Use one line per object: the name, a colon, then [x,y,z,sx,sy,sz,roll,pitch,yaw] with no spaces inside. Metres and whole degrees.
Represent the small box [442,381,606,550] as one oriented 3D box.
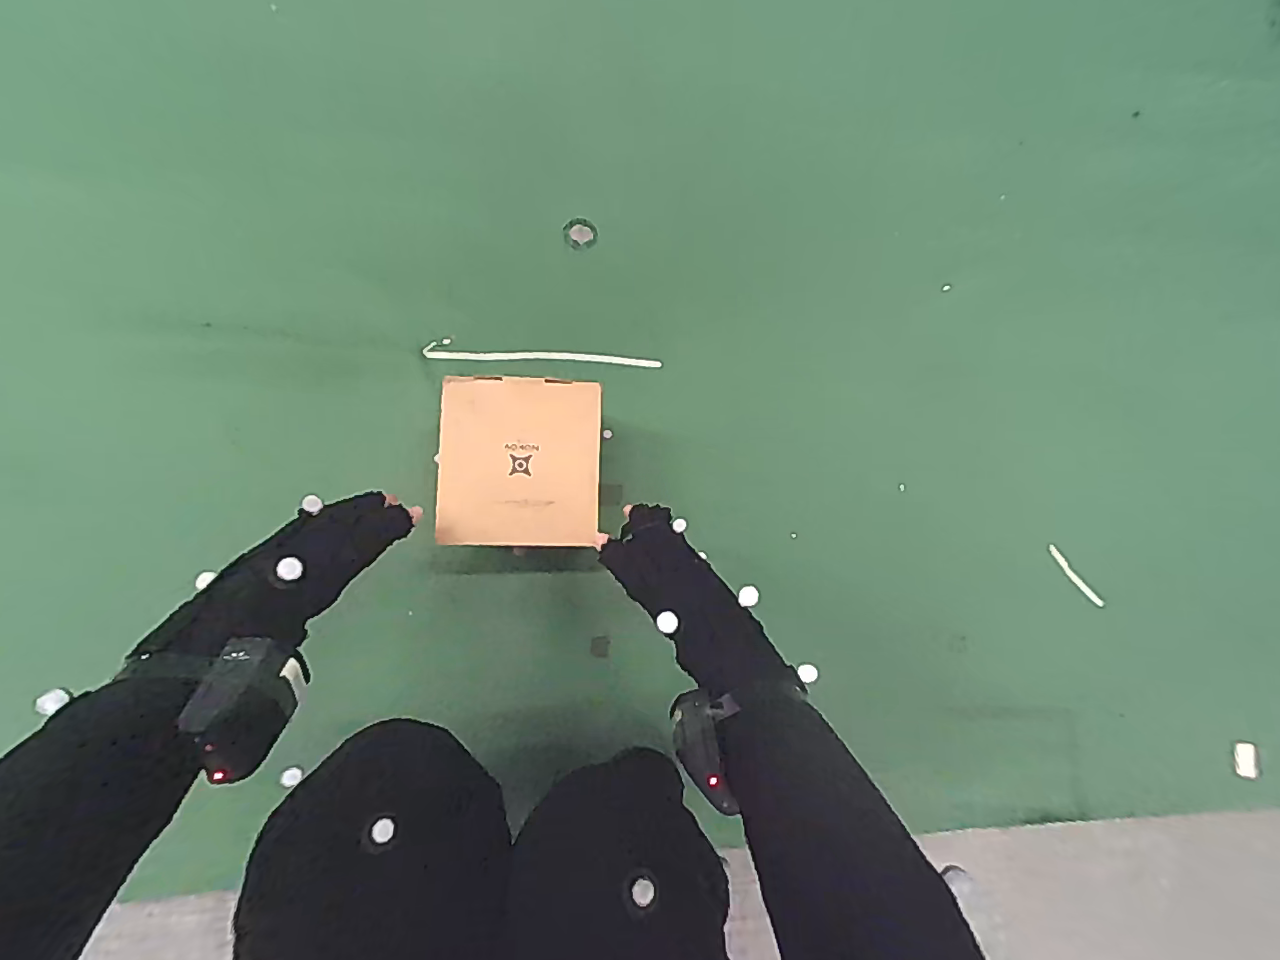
small box: [-0.127,-0.009,0.642,0.168,0.176,0.179,1,86,-5]
